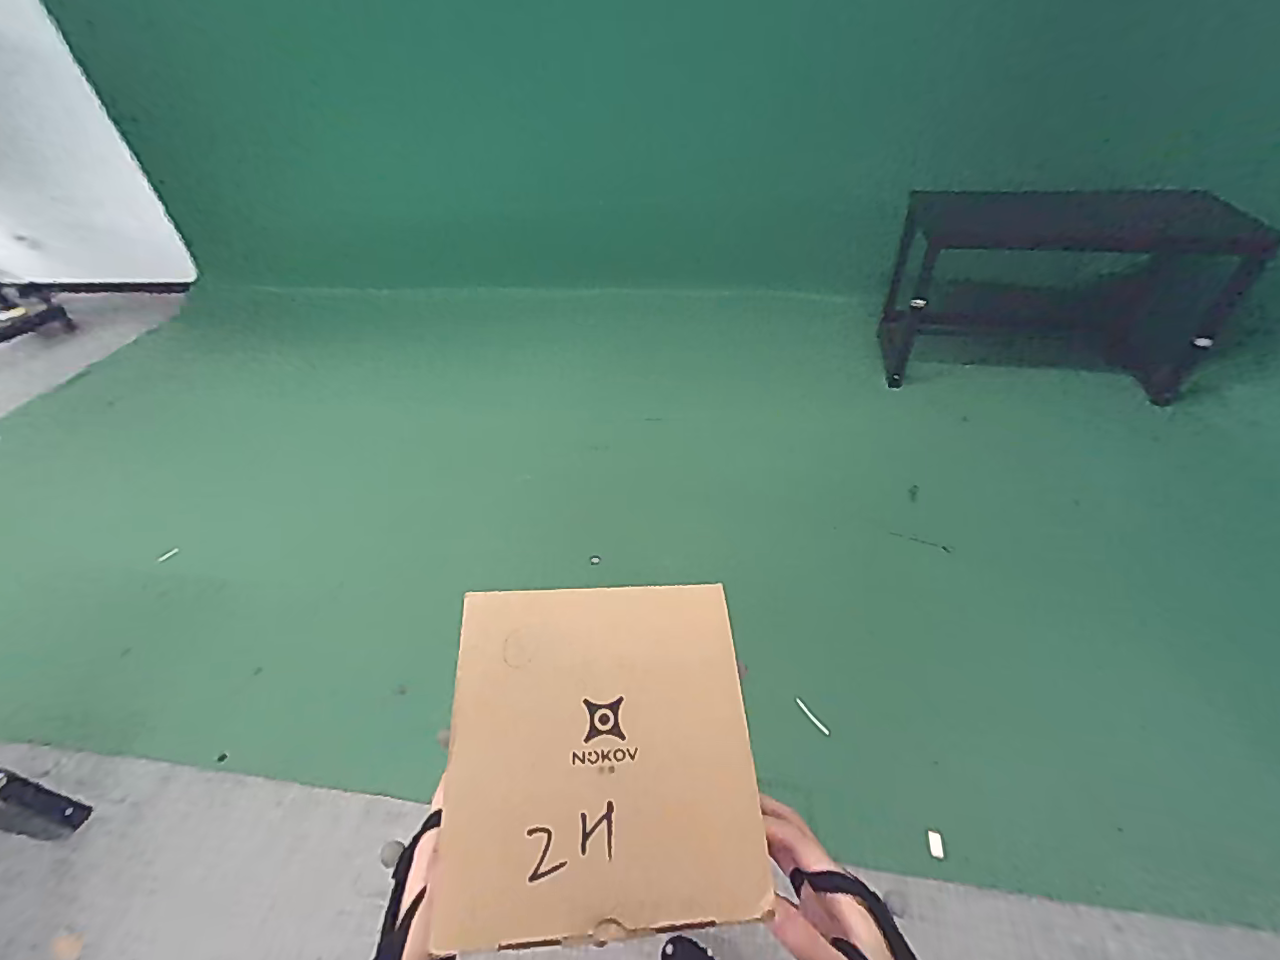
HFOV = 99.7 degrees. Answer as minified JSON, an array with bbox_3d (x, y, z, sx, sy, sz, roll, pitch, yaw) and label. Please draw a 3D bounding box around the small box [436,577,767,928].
[{"bbox_3d":[-0.029,0.181,0.374,0.168,0.176,0.179,-1,58,-7],"label":"small box"}]
